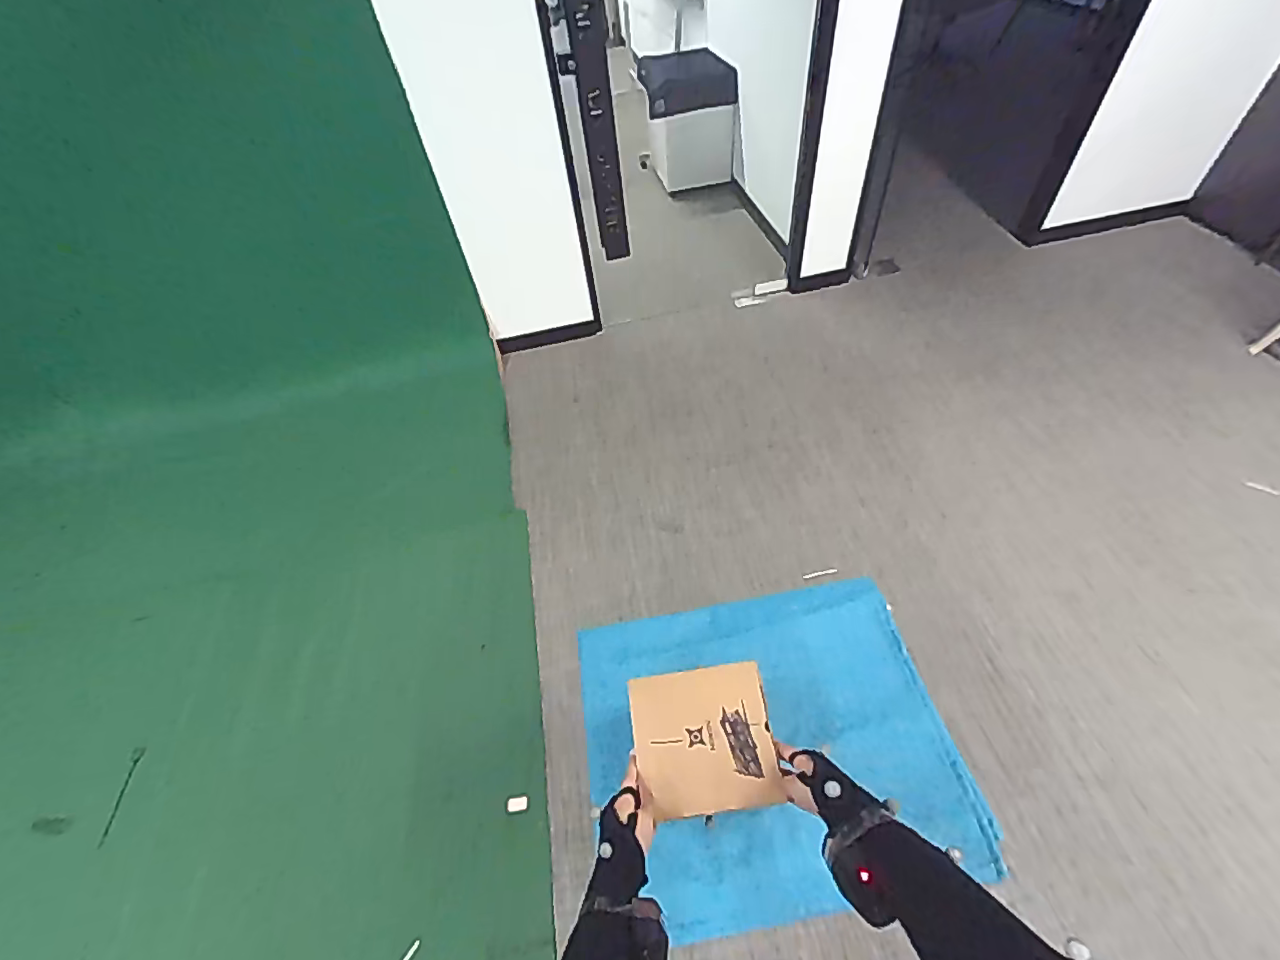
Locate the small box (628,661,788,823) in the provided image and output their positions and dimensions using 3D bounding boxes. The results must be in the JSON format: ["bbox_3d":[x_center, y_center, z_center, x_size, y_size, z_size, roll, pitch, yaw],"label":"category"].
[{"bbox_3d":[0.084,0.360,0.734,0.179,0.176,0.168,-9,56,1],"label":"small box"}]
